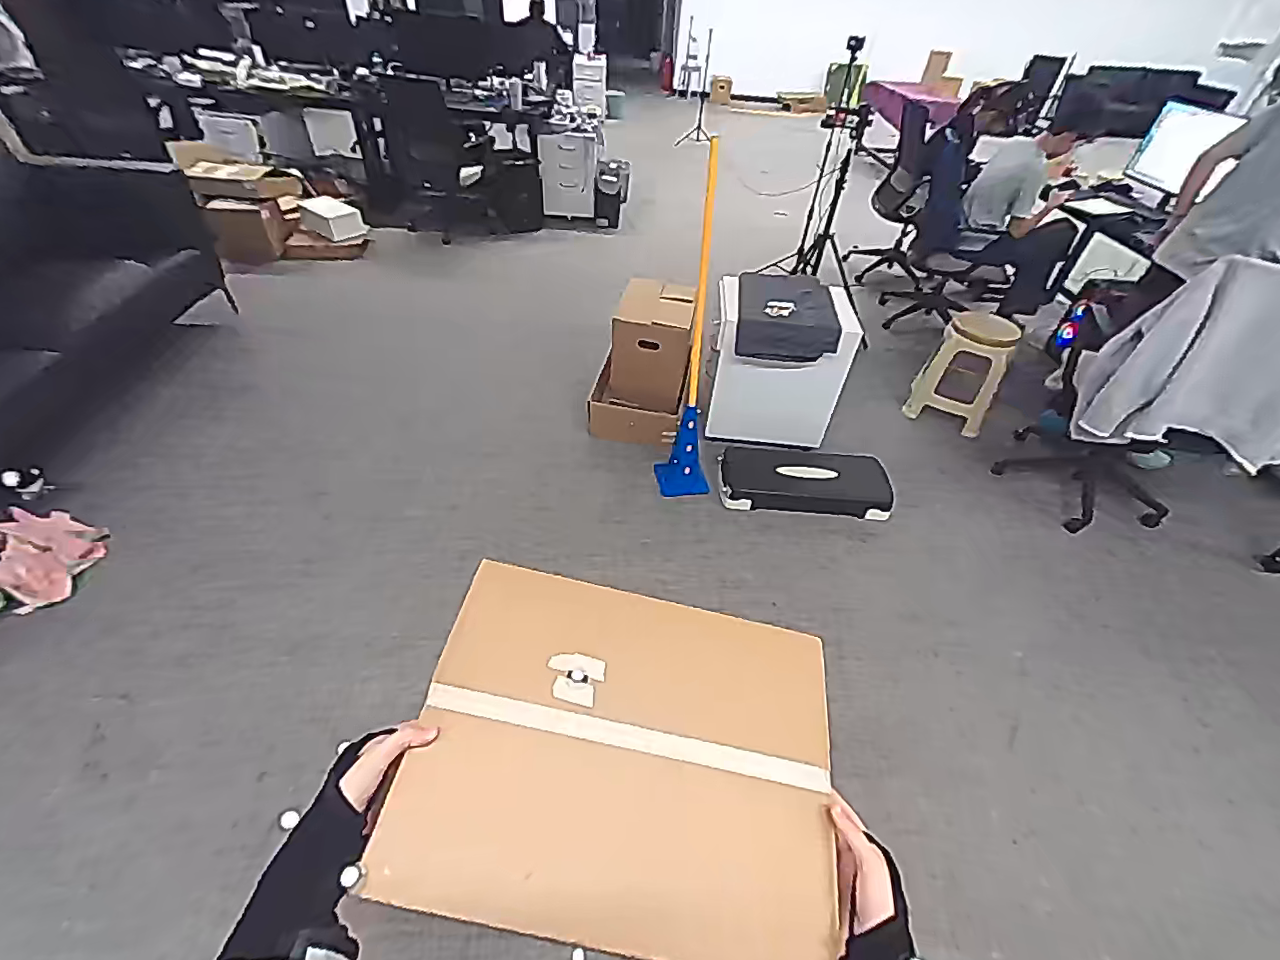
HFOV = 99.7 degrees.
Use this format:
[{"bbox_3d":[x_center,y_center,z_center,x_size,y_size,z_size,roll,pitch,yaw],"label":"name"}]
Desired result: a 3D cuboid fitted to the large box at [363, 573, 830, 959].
[{"bbox_3d":[-0.032,0.354,0.654,0.408,0.320,0.320,13,50,-1],"label":"large box"}]
